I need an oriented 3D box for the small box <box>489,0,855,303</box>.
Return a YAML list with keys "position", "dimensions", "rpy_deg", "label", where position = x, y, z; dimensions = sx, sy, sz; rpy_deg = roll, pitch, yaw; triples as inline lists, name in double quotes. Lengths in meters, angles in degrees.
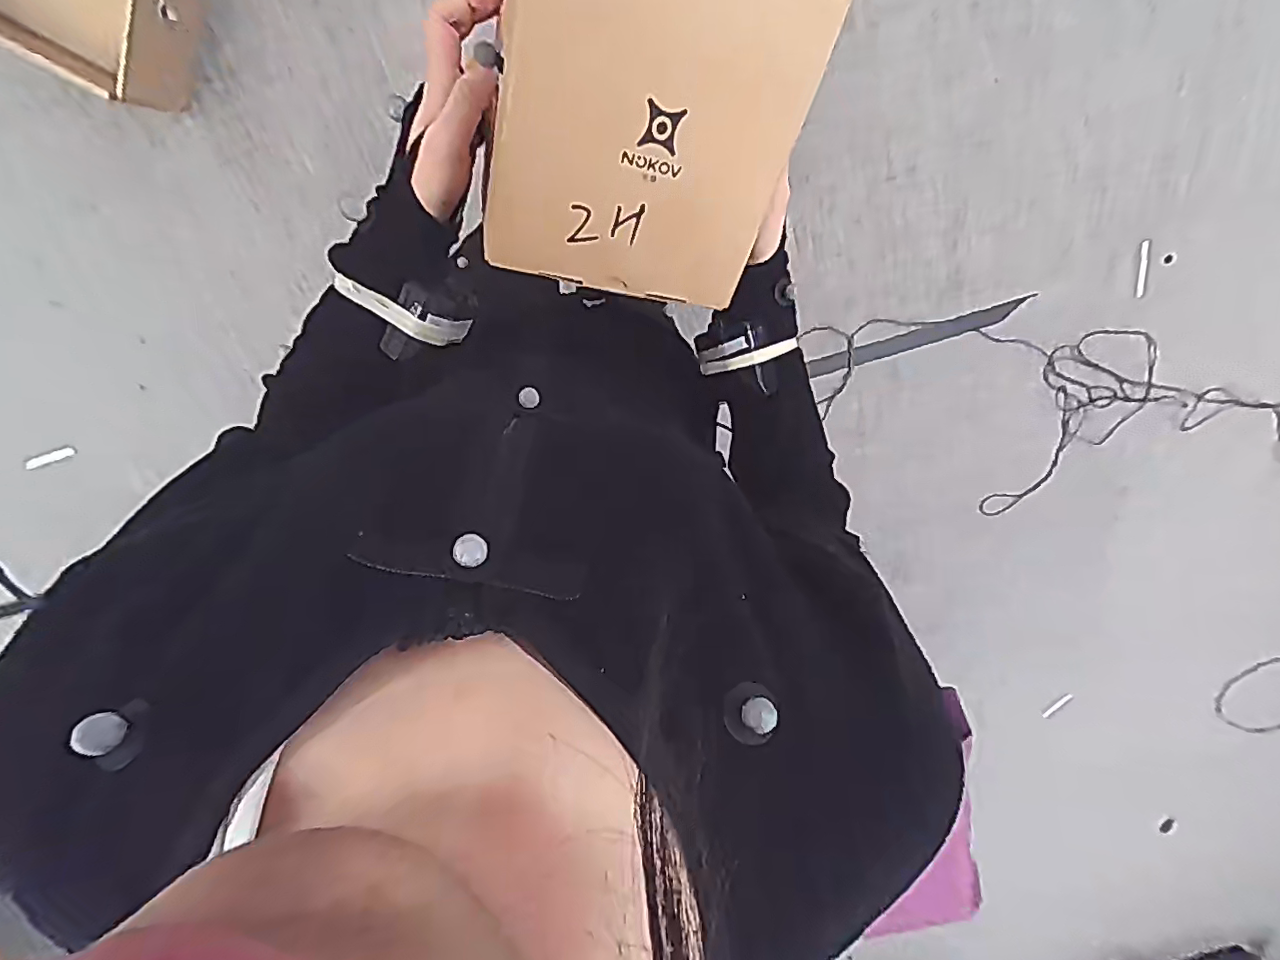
- position: [-0.005, -0.248, 0.357]
  dimensions: [0.168, 0.176, 0.179]
  rpy_deg: [5, 131, -21]
  label: "small box"
